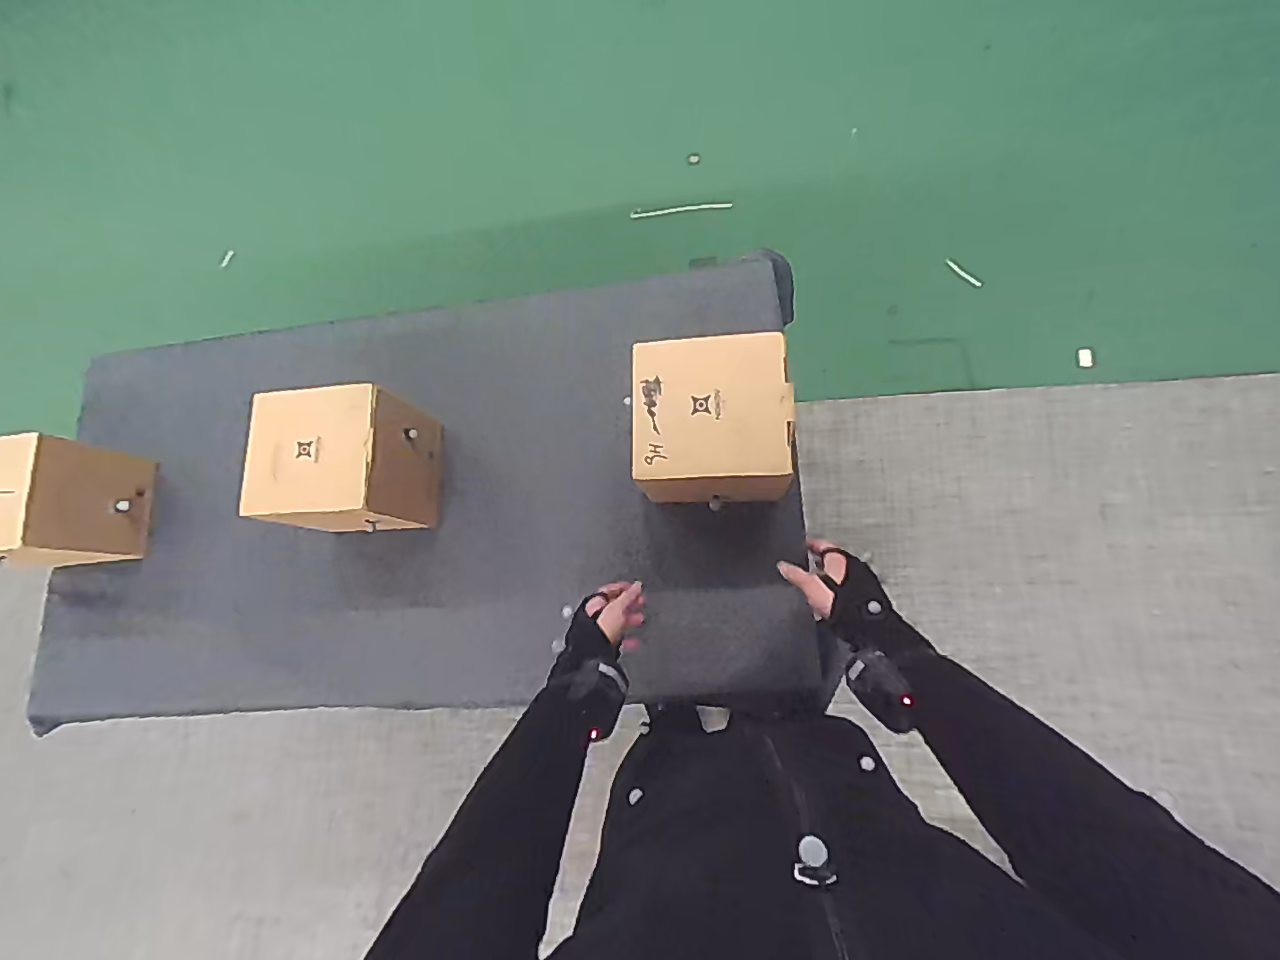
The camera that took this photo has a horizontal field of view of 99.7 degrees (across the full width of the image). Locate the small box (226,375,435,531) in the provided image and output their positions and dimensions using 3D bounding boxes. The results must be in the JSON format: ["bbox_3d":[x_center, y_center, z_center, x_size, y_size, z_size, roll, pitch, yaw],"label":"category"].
[{"bbox_3d":[-0.395,-0.026,0.724,0.179,0.176,0.168,-4,75,7],"label":"small box"}]

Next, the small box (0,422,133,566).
[{"bbox_3d":[-0.894,0.029,0.769,0.179,0.176,0.168,-6,77,4],"label":"small box"}]

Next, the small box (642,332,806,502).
[{"bbox_3d":[0.098,-0.069,0.670,0.179,0.176,0.168,0,77,6],"label":"small box"}]
